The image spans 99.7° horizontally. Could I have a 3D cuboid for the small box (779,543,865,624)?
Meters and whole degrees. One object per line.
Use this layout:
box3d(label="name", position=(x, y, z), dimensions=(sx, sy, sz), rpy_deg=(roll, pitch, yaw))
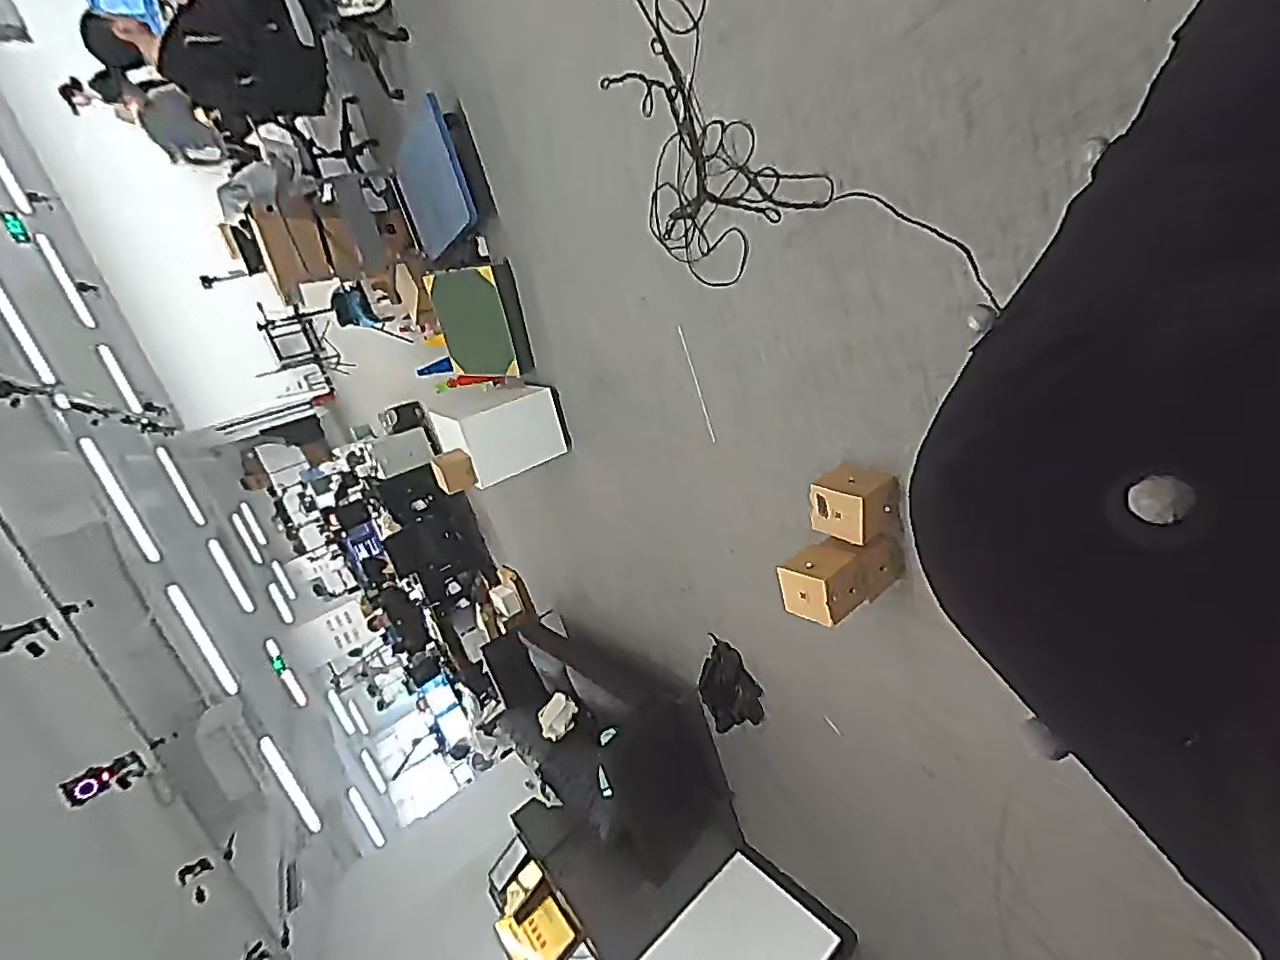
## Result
box3d(label="small box", position=(0.562, 0.310, 1.664), dimensions=(0.179, 0.176, 0.168), rpy_deg=(9, 120, 54))

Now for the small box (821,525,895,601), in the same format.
box3d(label="small box", position=(0.699, 0.258, 1.738), dimensions=(0.179, 0.176, 0.168), rpy_deg=(9, 121, 54))
